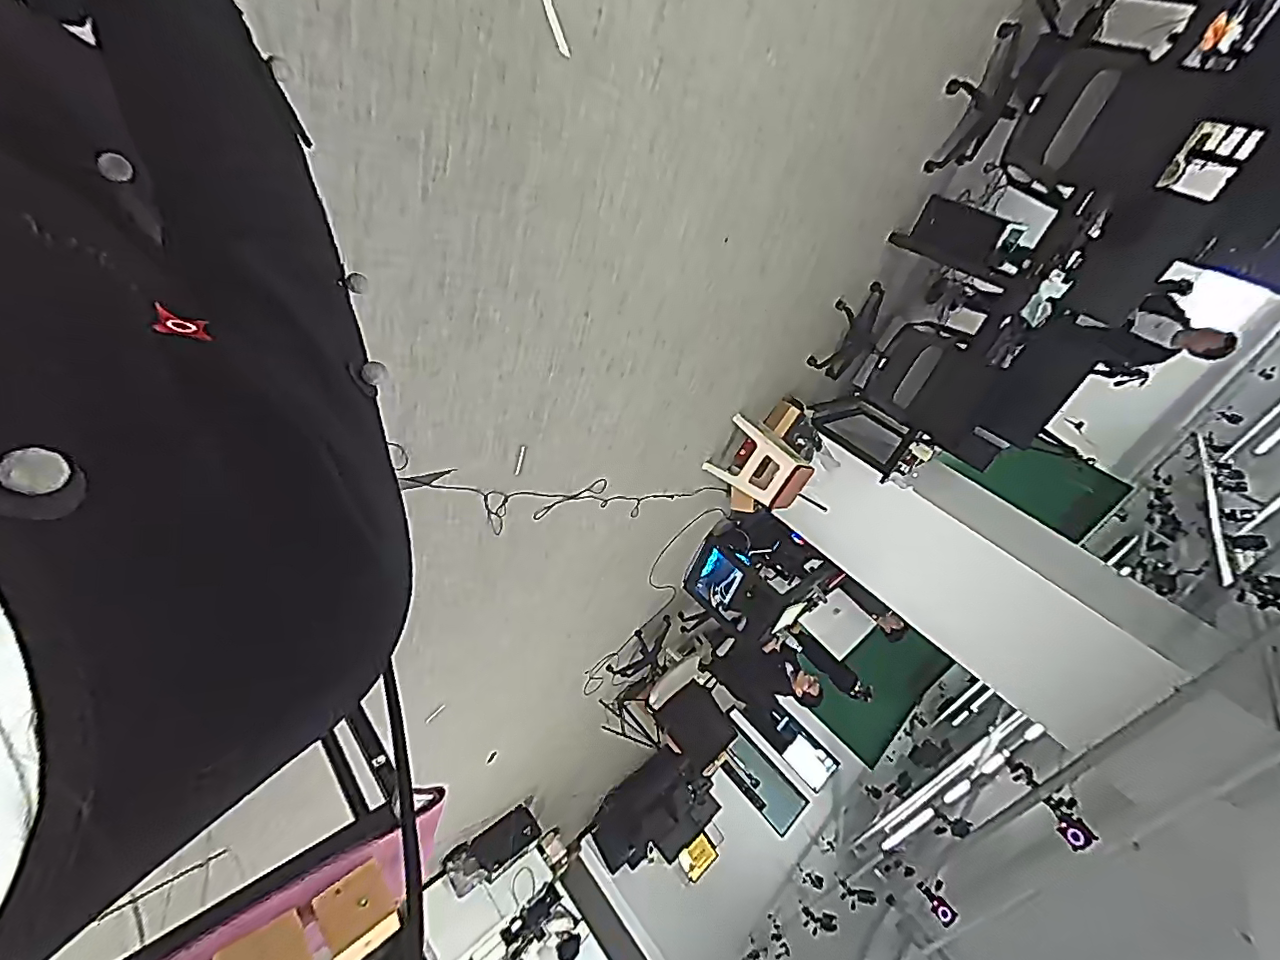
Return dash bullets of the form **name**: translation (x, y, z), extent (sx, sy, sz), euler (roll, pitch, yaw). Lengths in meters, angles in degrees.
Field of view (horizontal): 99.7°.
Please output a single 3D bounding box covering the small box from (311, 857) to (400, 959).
- **small box**: translation (-0.797, 1.210, 1.517), extent (0.168, 0.176, 0.179), euler (-23, 141, -38)
